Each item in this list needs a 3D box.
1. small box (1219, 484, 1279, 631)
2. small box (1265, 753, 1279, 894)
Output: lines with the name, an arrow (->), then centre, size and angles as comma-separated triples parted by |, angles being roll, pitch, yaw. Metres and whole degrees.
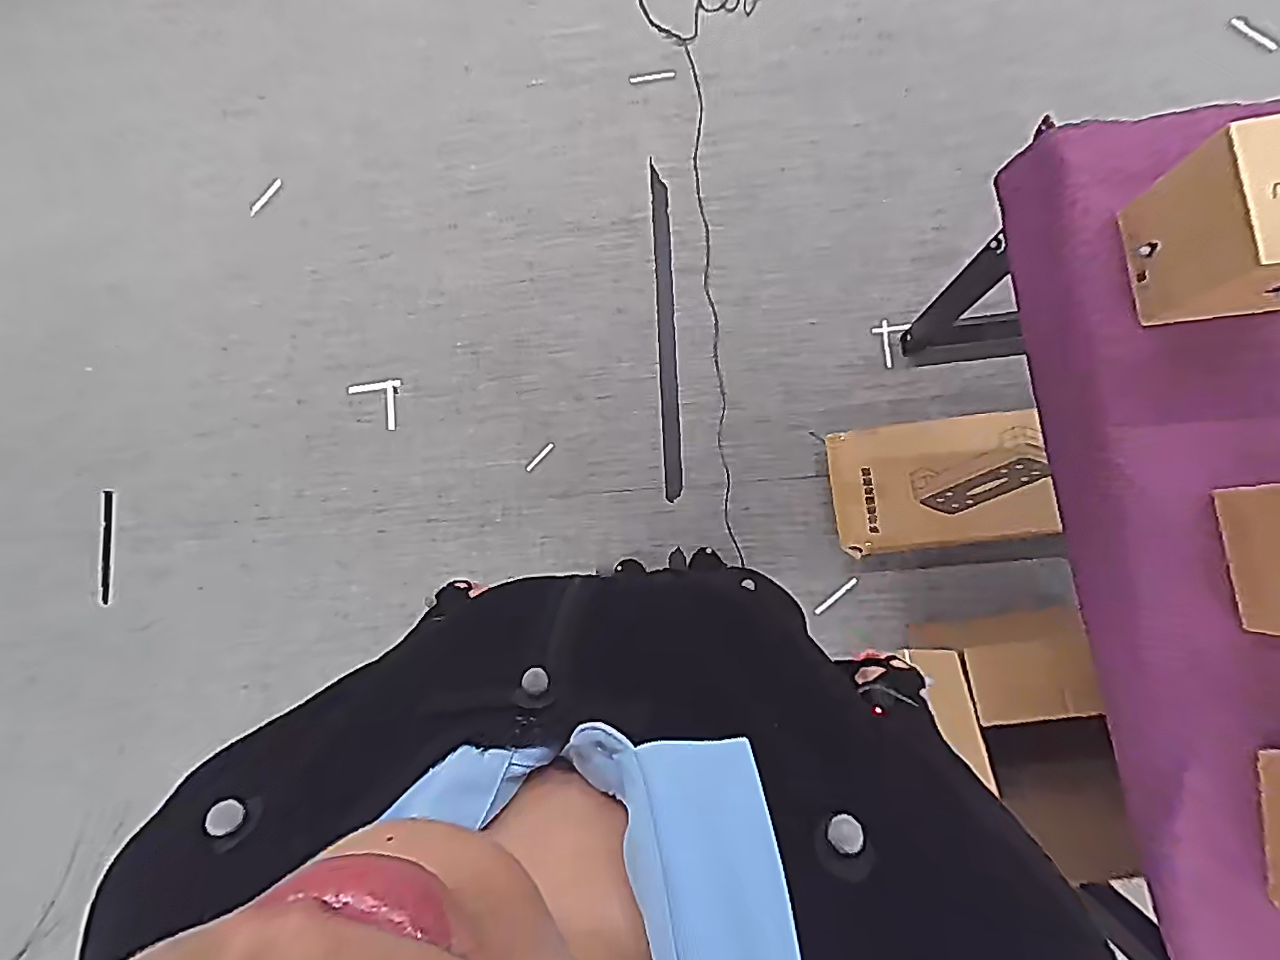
small box -> 0.804, 0.083, 0.585 | 0.168, 0.176, 0.179 | -6, 83, 4
small box -> 0.810, 0.400, 0.551 | 0.168, 0.176, 0.179 | 1, 84, 8
